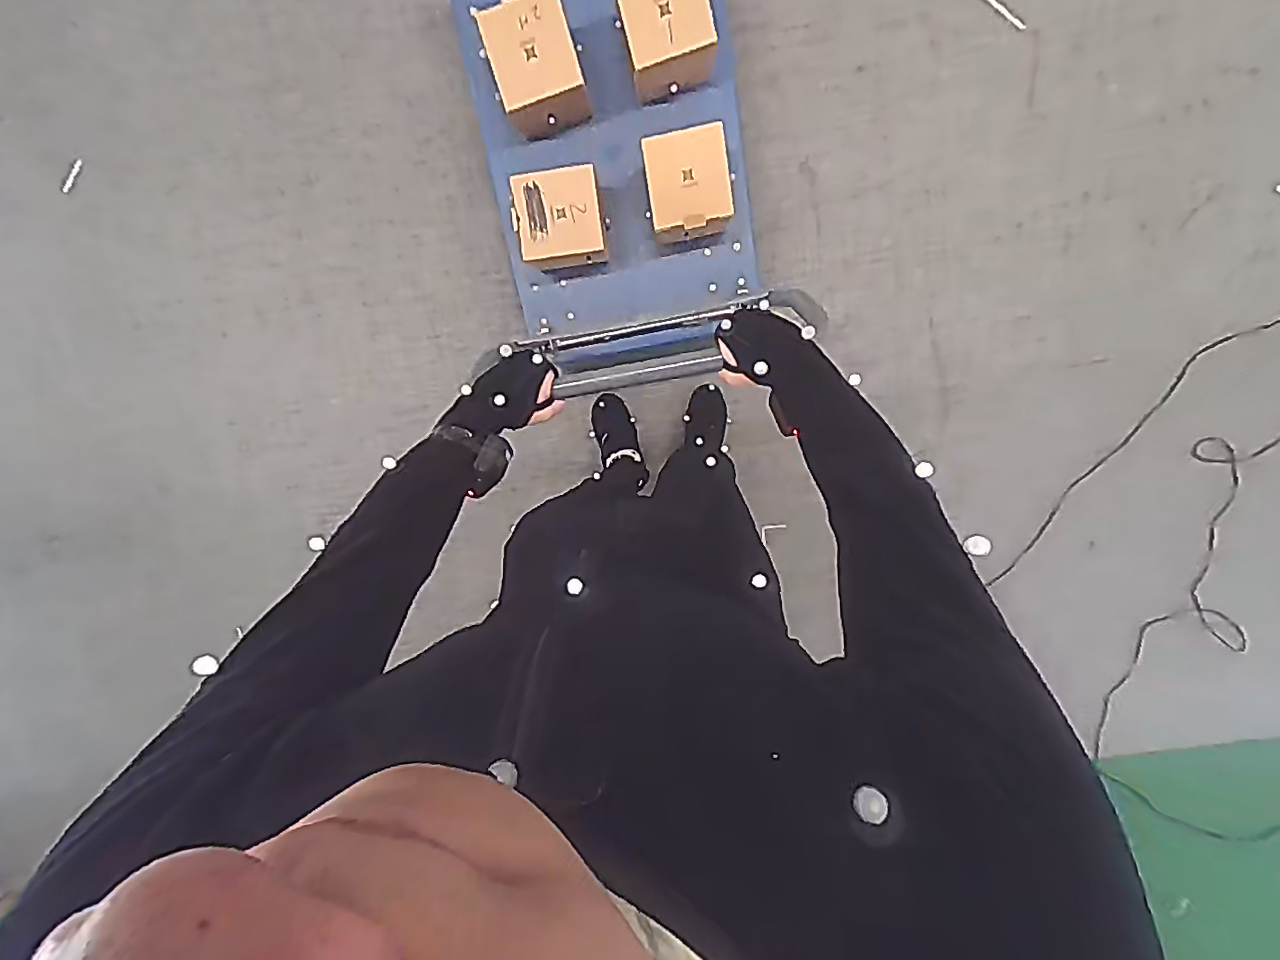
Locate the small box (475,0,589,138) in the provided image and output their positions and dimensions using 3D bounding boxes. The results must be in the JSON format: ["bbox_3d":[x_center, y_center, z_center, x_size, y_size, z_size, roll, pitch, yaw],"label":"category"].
[{"bbox_3d":[-0.212,-0.840,1.119,0.168,0.176,0.179,-16,104,5],"label":"small box"}]

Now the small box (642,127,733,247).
[{"bbox_3d":[0.098,-0.623,1.169,0.168,0.176,0.179,-10,105,5],"label":"small box"}]

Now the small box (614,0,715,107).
[{"bbox_3d":[0.046,-0.905,1.095,0.168,0.176,0.179,-15,105,6],"label":"small box"}]
